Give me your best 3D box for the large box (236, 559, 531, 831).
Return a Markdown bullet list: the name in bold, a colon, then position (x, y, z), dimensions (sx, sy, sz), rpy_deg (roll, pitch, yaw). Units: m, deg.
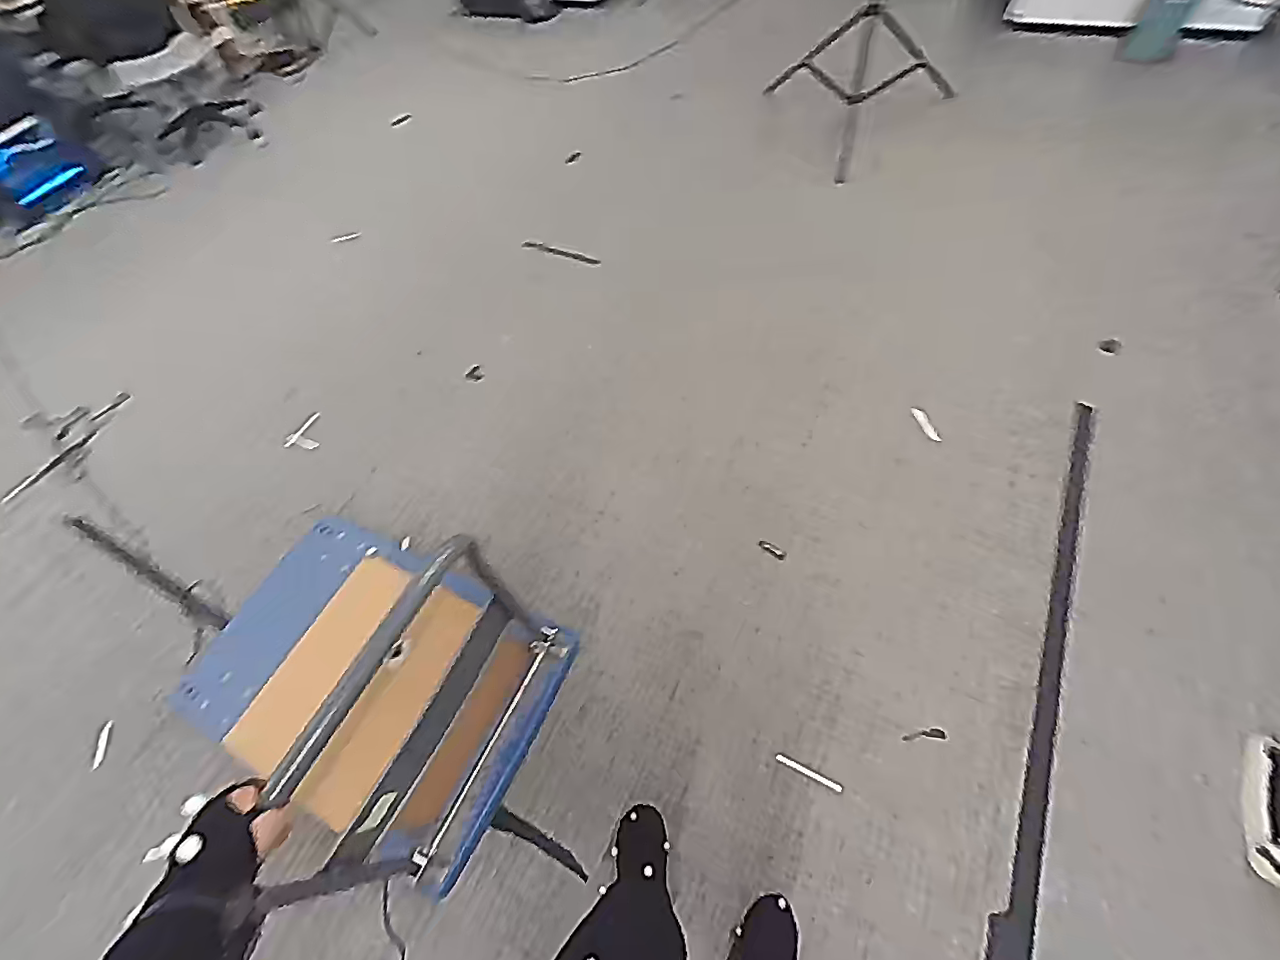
- **large box**: position (-0.492, 0.448, 1.129), dimensions (0.320, 0.320, 0.408), rpy_deg (21, 63, 18)
